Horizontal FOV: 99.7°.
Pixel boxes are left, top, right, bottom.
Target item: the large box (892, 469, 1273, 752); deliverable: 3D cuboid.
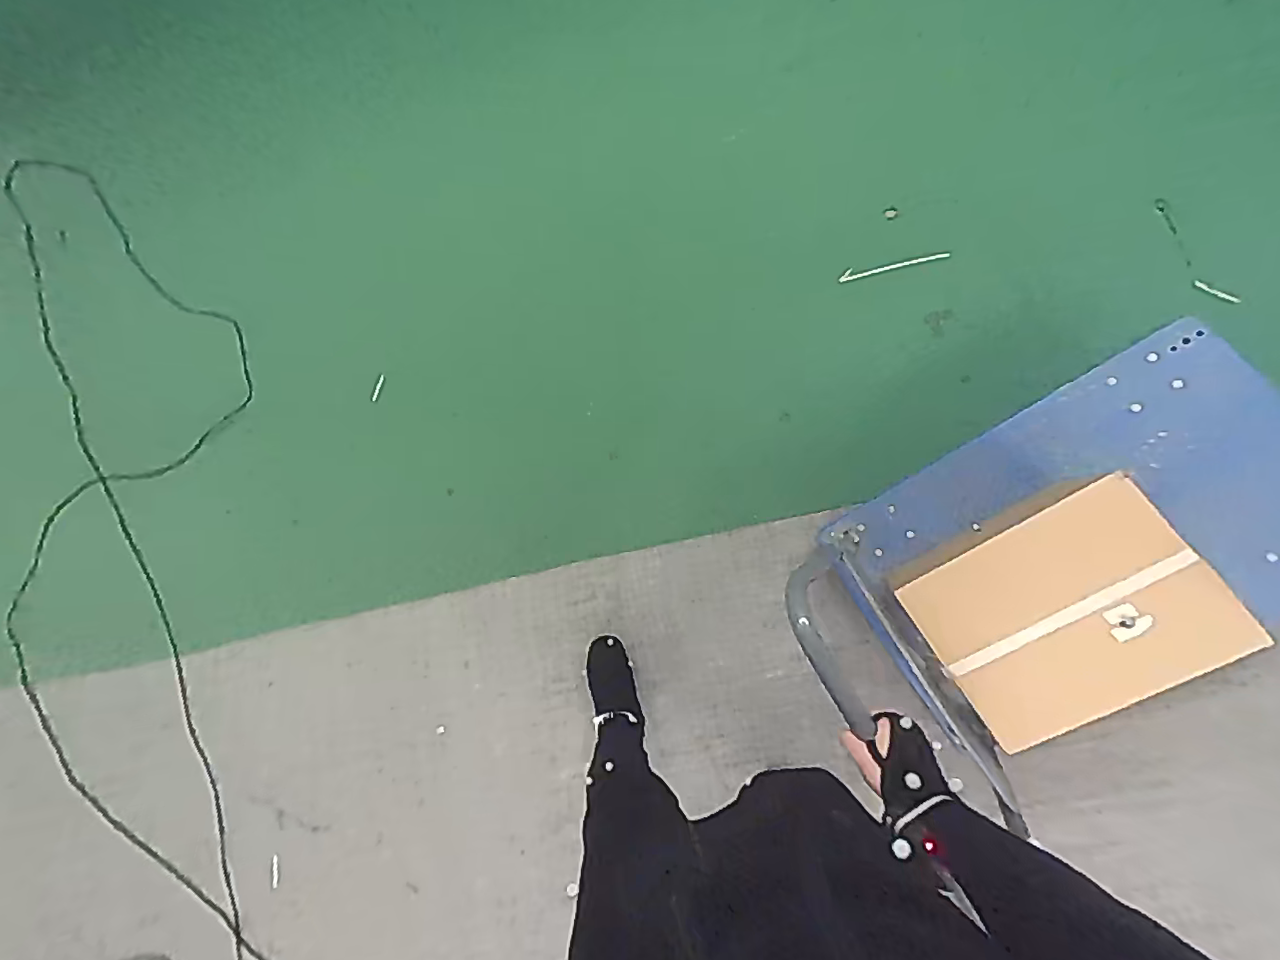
[{"bbox_3d":[0.751,0.231,1.016,0.408,0.320,0.320,-35,74,15],"label":"large box"}]
